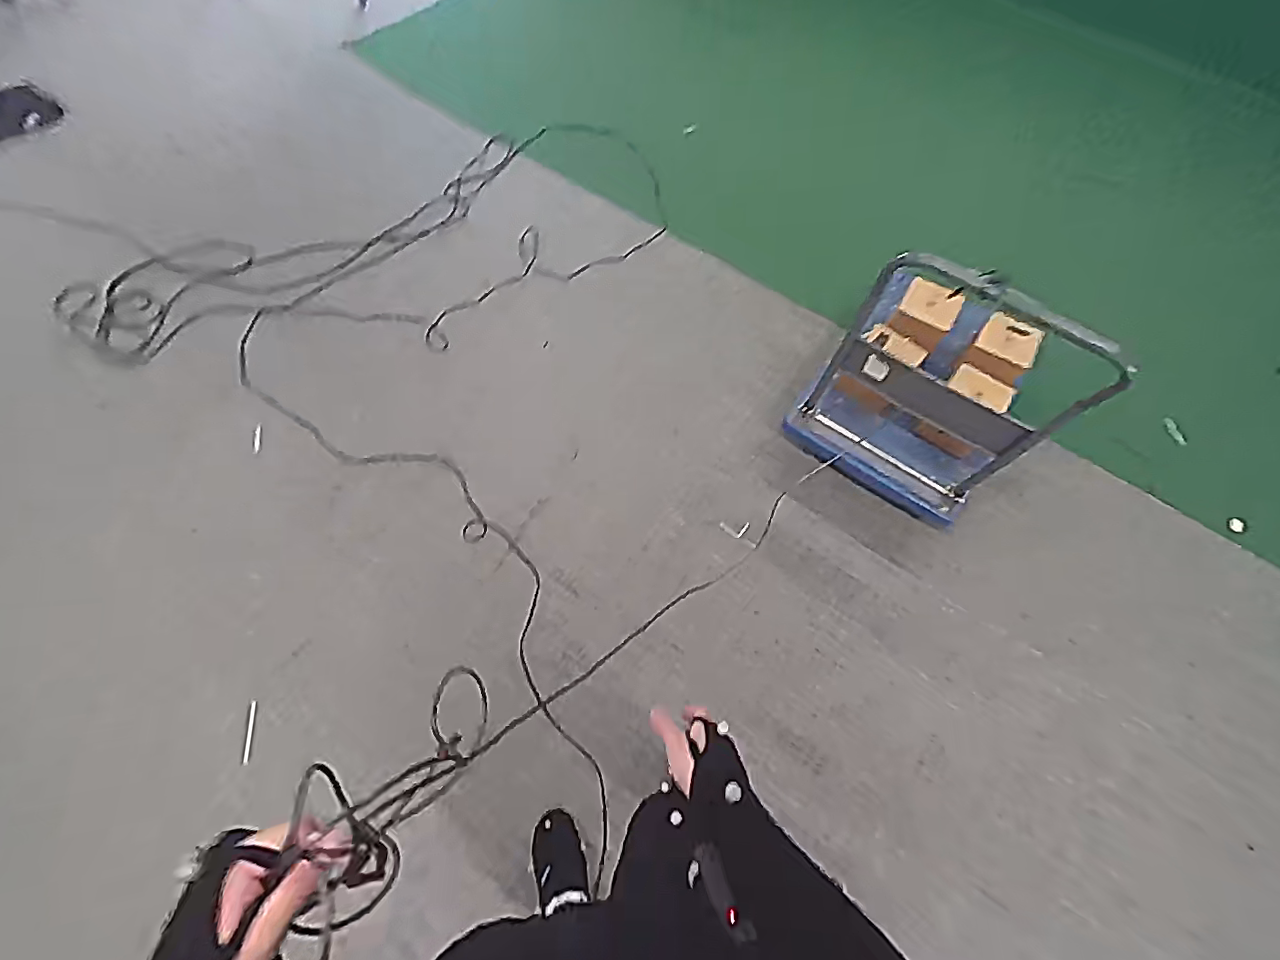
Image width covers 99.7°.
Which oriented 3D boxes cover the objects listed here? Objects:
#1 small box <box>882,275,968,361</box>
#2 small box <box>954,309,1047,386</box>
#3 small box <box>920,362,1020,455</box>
[{"bbox_3d":[0.925,-0.524,1.771,0.168,0.176,0.179,31,66,12],"label":"small box"},{"bbox_3d":[1.136,-0.400,1.717,0.168,0.176,0.179,31,67,13],"label":"small box"},{"bbox_3d":[0.976,-0.209,1.613,0.168,0.176,0.179,35,67,14],"label":"small box"}]
